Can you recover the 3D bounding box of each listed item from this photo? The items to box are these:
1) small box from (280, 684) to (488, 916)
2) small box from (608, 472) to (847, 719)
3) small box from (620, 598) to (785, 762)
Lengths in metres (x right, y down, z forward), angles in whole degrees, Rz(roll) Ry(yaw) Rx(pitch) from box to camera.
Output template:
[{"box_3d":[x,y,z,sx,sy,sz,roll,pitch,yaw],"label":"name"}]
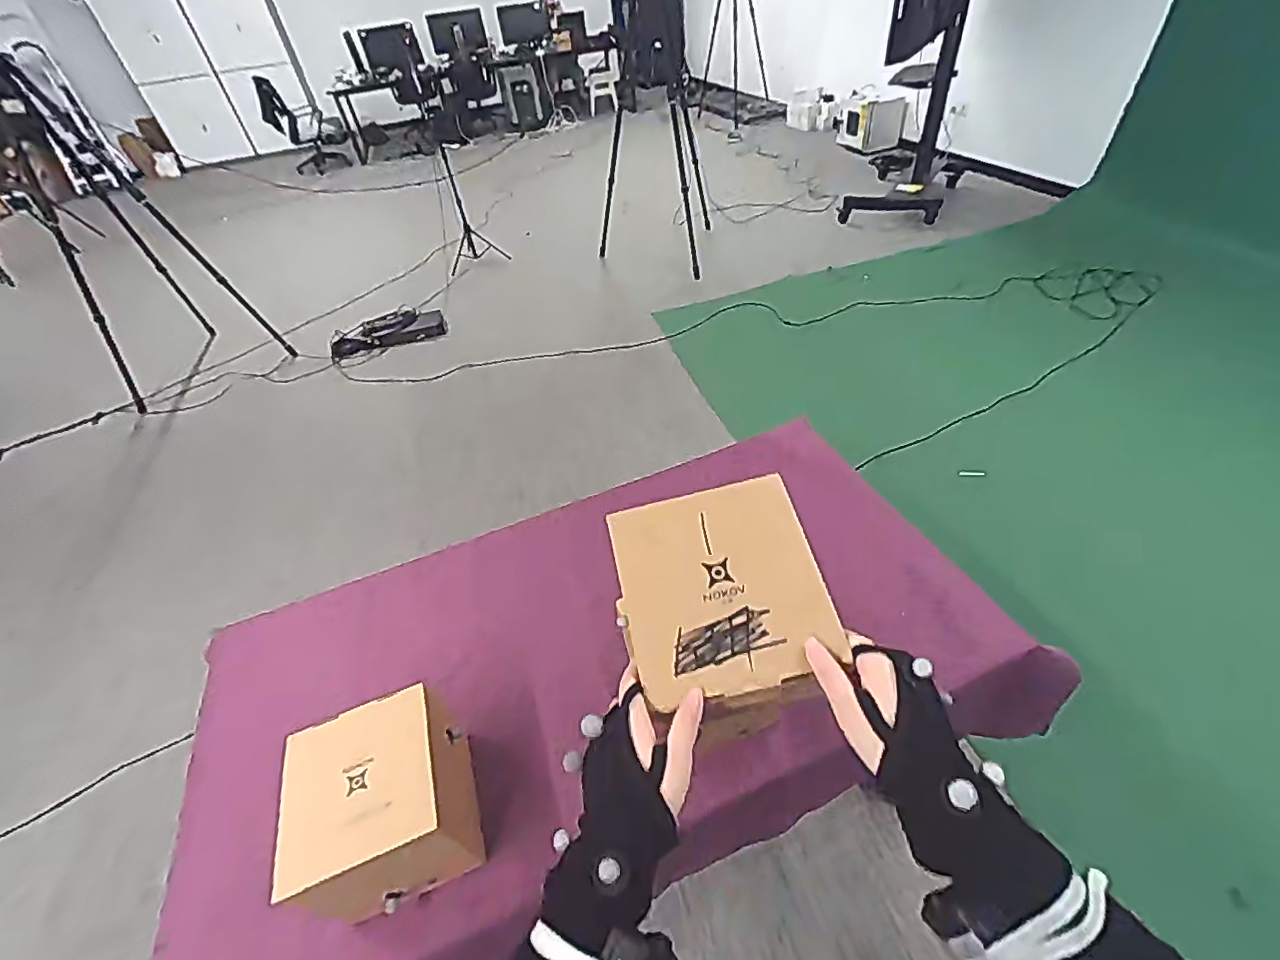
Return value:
[{"box_3d":[-0.301,0.391,0.664,0.168,0.176,0.179,-20,46,-10],"label":"small box"},{"box_3d":[0.075,0.122,0.525,0.168,0.176,0.179,-14,59,-1],"label":"small box"},{"box_3d":[0.085,0.247,0.745,0.168,0.176,0.179,-21,45,-10],"label":"small box"}]
